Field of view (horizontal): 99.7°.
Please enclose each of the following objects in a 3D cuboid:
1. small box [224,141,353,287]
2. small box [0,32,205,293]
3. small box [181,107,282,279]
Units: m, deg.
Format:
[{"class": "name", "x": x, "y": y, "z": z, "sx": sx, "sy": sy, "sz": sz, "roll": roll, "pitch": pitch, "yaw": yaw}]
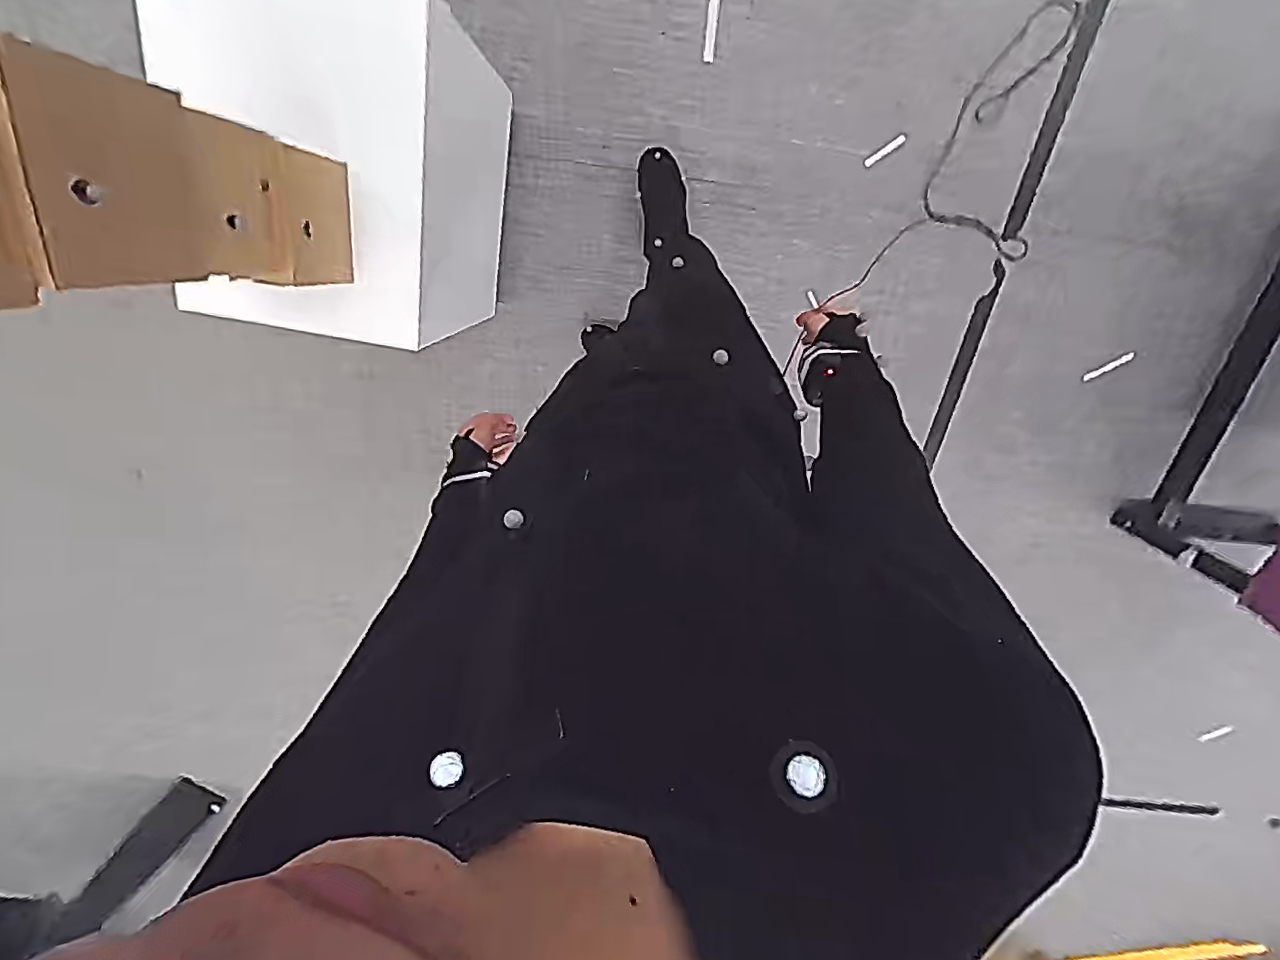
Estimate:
[{"class": "small box", "x": -0.534, "y": -0.383, "z": 0.776, "sx": 0.168, "sy": 0.176, "sz": 0.179, "roll": 7, "pitch": 111, "yaw": -4}, {"class": "small box", "x": -0.525, "y": -0.271, "z": 0.469, "sx": 0.168, "sy": 0.176, "sz": 0.179, "roll": 8, "pitch": 112, "yaw": -4}, {"class": "small box", "x": -0.544, "y": -0.335, "z": 0.621, "sx": 0.179, "sy": 0.176, "sz": 0.168, "roll": 8, "pitch": 112, "yaw": -3}]
